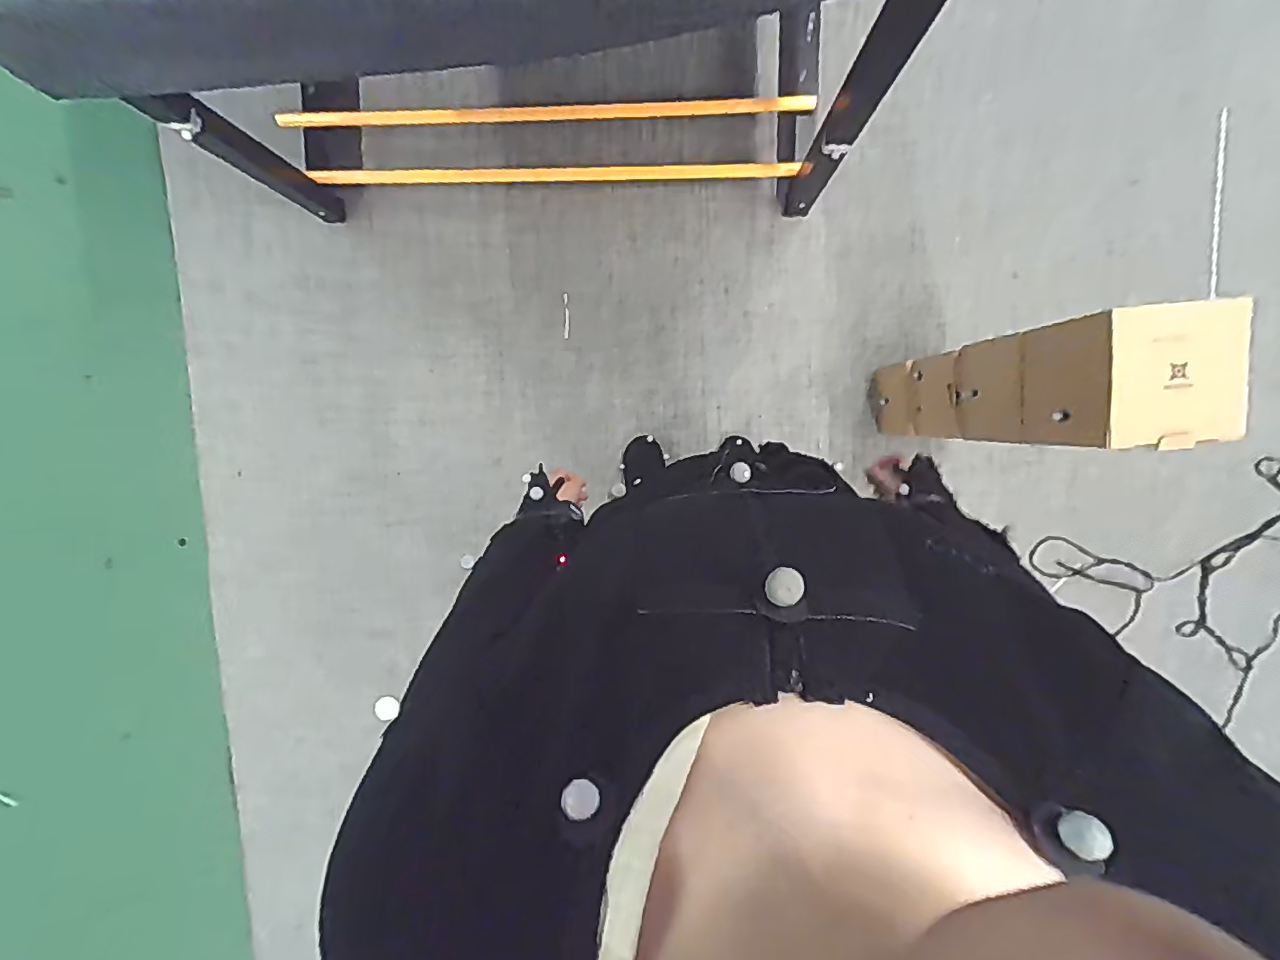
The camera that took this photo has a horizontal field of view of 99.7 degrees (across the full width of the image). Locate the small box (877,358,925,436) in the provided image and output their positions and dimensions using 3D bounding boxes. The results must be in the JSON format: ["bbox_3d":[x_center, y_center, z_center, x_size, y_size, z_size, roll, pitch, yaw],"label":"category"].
[{"bbox_3d":[0.664,-0.192,1.229,0.179,0.176,0.168,-6,95,4],"label":"small box"}]

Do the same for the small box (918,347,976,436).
[{"bbox_3d":[0.668,-0.175,1.066,0.179,0.176,0.168,-6,96,2],"label":"small box"}]

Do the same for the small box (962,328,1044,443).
[{"bbox_3d":[0.665,-0.159,0.903,0.168,0.176,0.179,-5,96,3],"label":"small box"}]

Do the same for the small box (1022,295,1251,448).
[{"bbox_3d":[0.660,-0.141,0.741,0.168,0.176,0.179,-5,95,3],"label":"small box"}]
